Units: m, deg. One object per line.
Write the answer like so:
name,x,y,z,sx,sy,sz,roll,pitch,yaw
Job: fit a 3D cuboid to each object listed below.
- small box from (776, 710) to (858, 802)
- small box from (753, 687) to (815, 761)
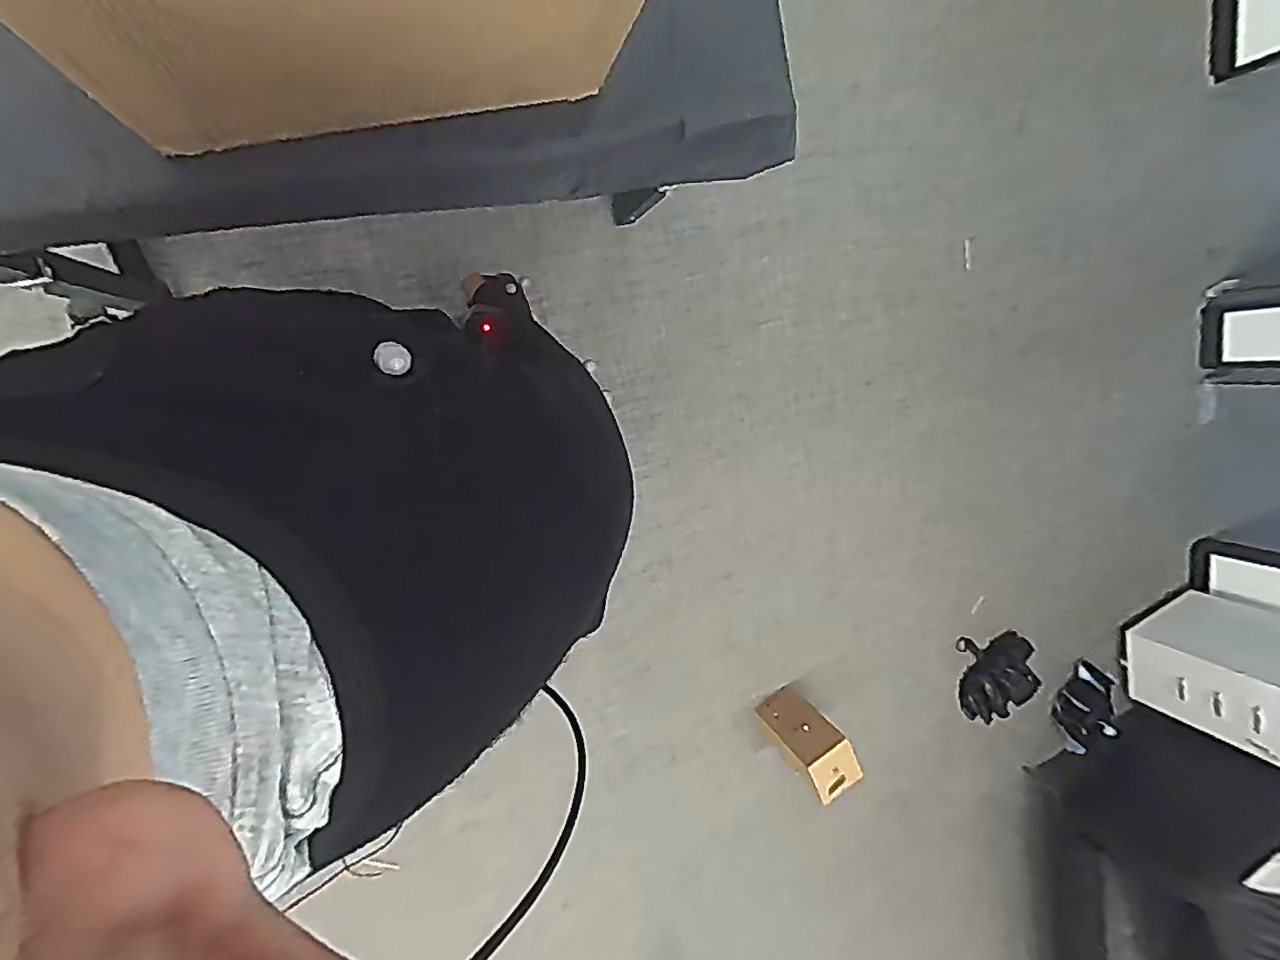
small box,0.585,0.909,1.798,0.168,0.176,0.179,-30,108,-13
small box,0.535,0.881,1.952,0.168,0.176,0.179,-31,110,-12
